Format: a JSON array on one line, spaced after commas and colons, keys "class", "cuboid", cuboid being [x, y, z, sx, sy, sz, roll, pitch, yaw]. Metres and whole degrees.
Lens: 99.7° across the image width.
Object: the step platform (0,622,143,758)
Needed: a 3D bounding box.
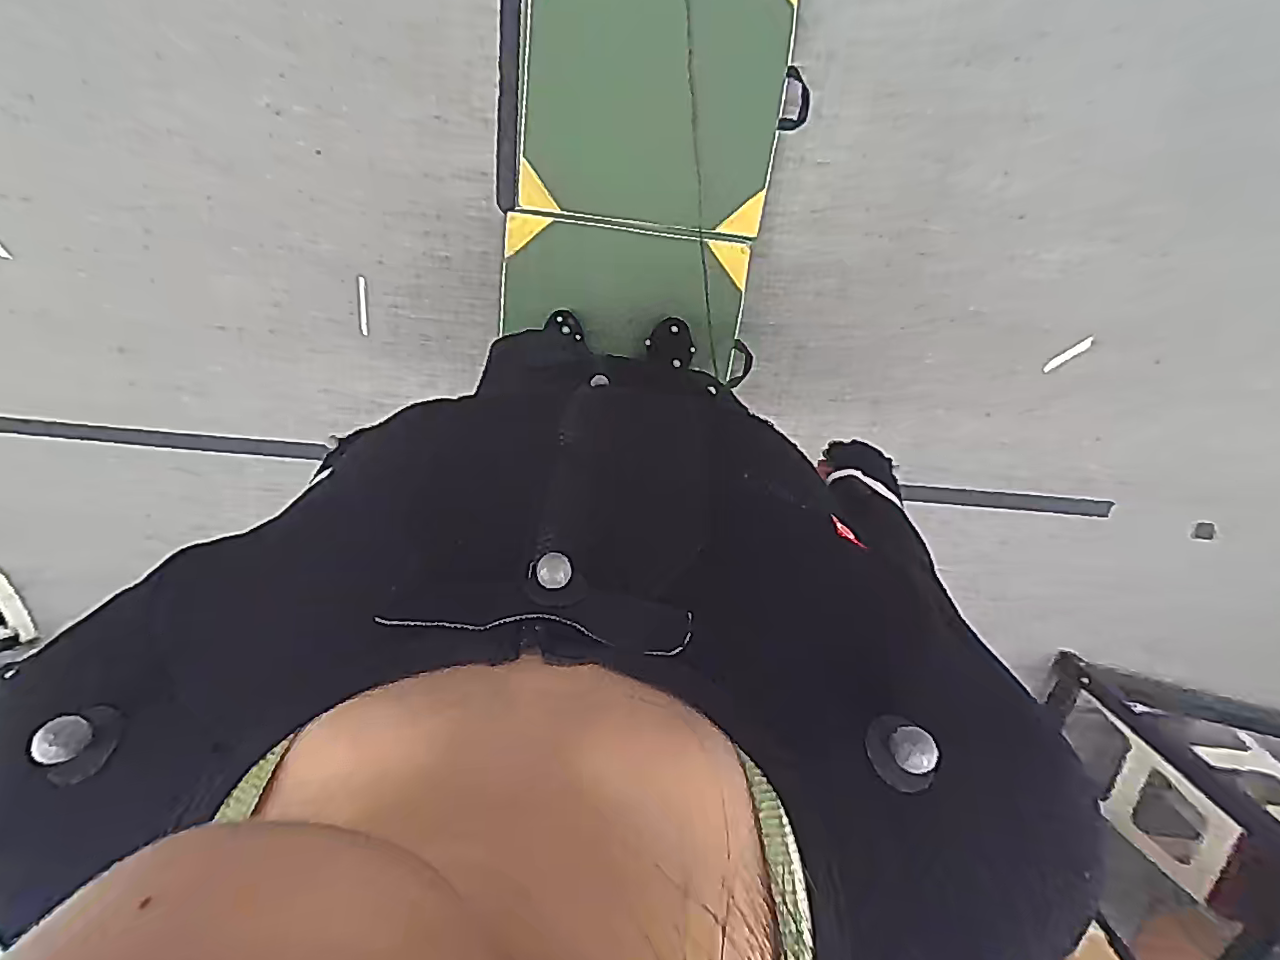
[{"class": "step platform", "cuboid": [-2.054, 0.726, 1.782, 0.684, 0.204, 0.286, -23, 105, 8]}]
